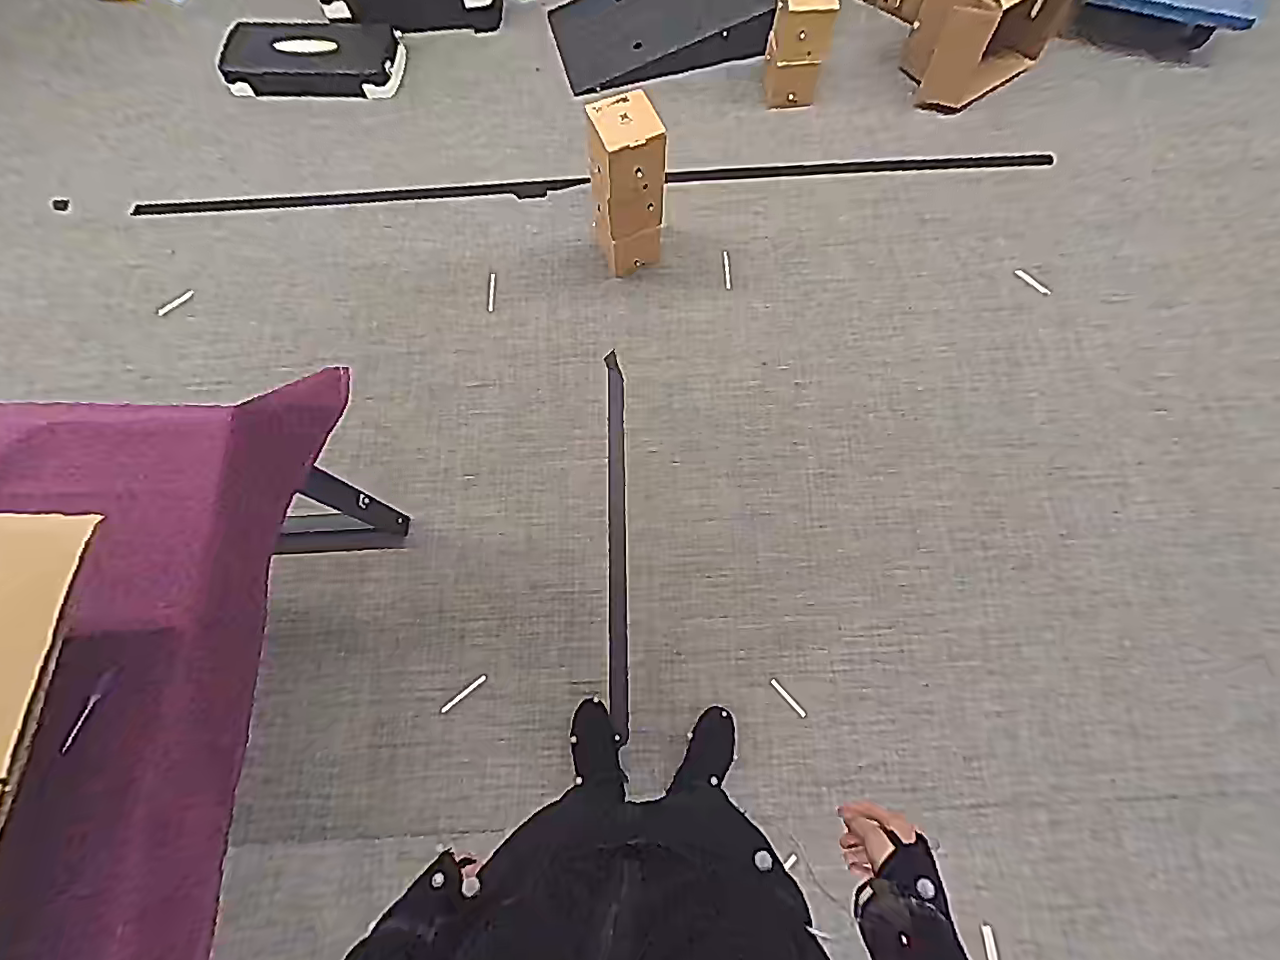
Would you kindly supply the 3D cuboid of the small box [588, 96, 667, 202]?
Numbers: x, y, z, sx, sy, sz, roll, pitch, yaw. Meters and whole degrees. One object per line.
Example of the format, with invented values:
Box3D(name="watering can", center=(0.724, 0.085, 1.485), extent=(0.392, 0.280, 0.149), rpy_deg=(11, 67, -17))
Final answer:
Box3D(name="small box", center=(-0.032, -0.898, 1.488), extent=(0.168, 0.176, 0.179), rpy_deg=(-21, 73, -7))
